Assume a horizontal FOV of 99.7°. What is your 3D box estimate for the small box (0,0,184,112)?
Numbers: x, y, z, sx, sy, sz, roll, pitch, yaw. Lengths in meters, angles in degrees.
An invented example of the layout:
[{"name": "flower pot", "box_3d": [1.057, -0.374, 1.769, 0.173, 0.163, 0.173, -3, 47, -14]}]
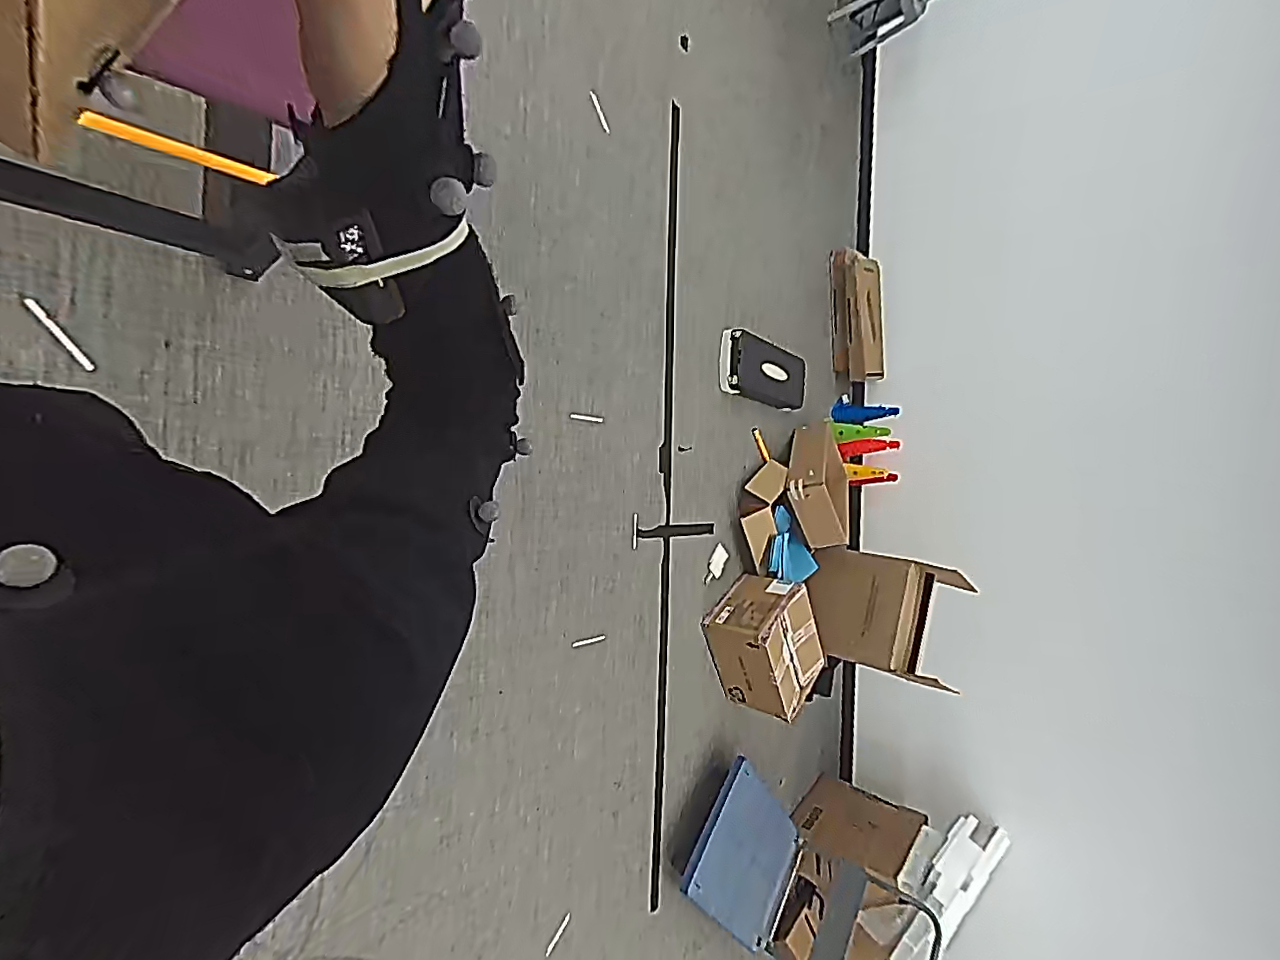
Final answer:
[{"name": "small box", "box_3d": [-0.196, -0.229, 0.124, 0.179, 0.176, 0.168, 34, 66, -42]}]
